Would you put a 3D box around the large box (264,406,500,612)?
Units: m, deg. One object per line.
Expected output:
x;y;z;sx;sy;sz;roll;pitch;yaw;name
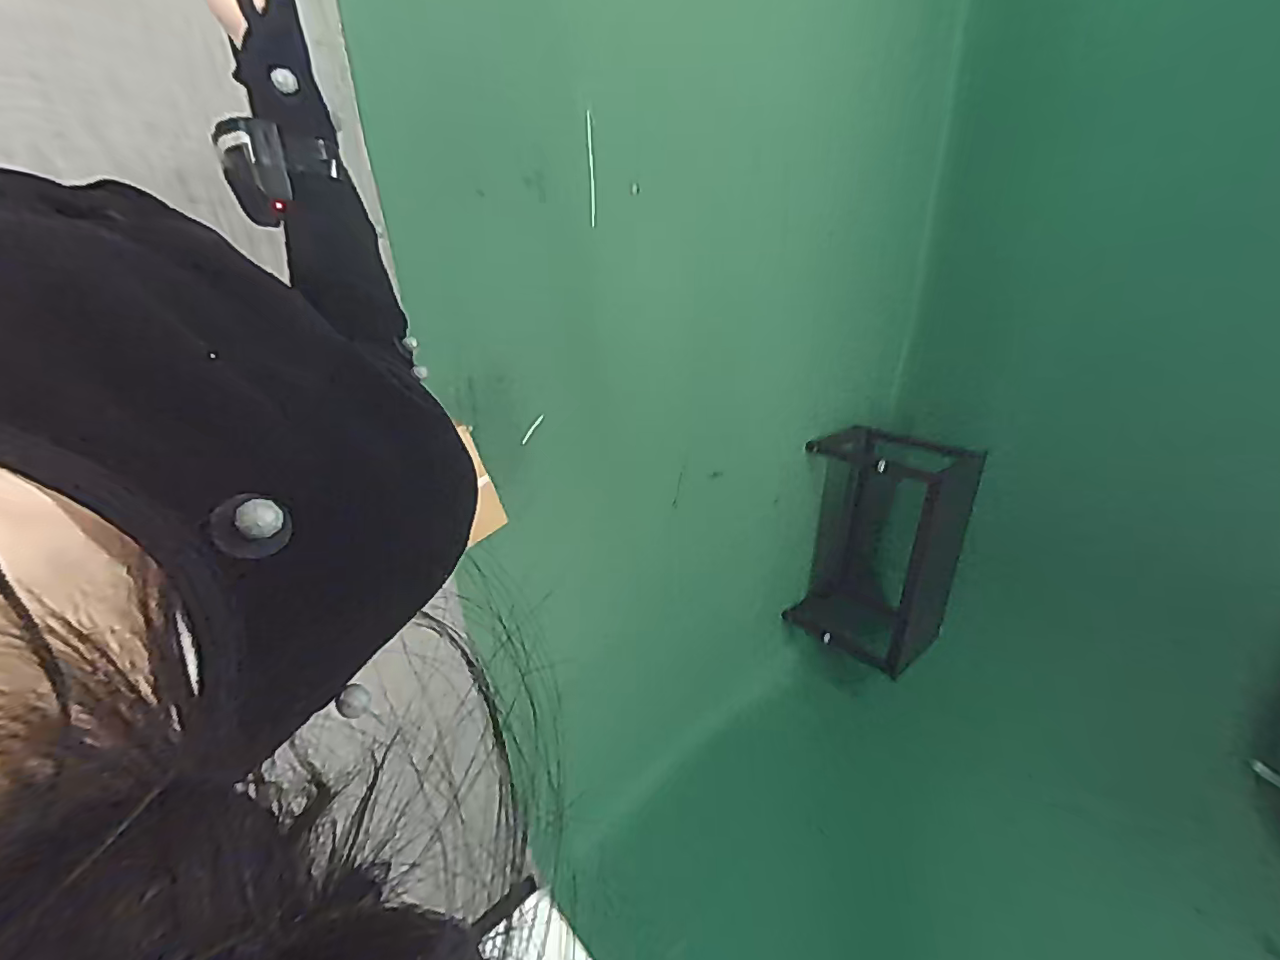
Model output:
-0.650;0.051;1.394;0.408;0.320;0.320;-36;130;-30;large box
